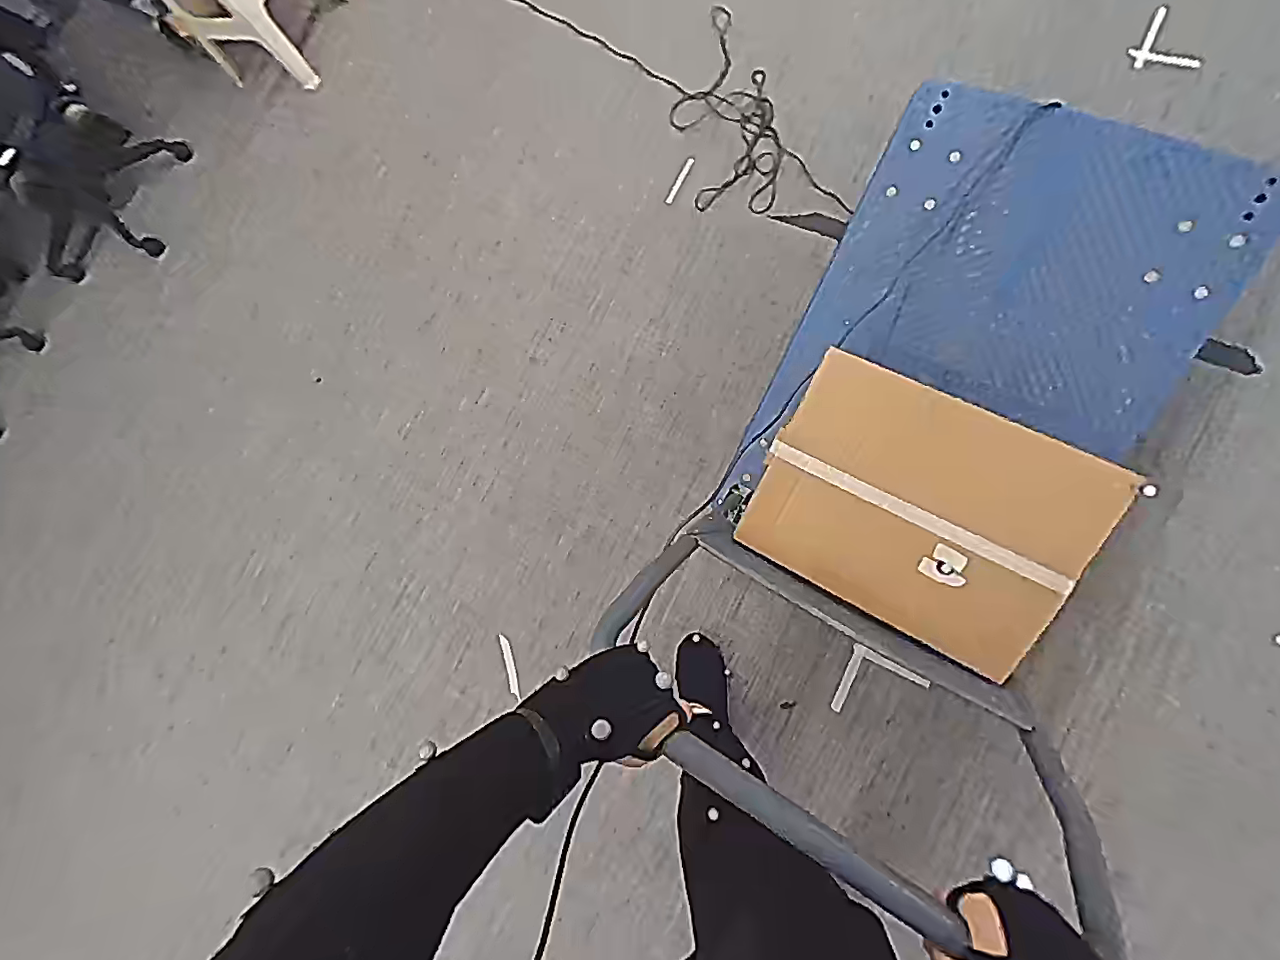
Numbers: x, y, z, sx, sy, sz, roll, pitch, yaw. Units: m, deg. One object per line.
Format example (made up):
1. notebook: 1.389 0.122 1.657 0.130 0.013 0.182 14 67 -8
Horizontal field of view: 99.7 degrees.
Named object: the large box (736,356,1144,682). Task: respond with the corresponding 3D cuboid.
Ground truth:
1. large box: 0.416 0.032 0.861 0.408 0.320 0.320 27 105 15
